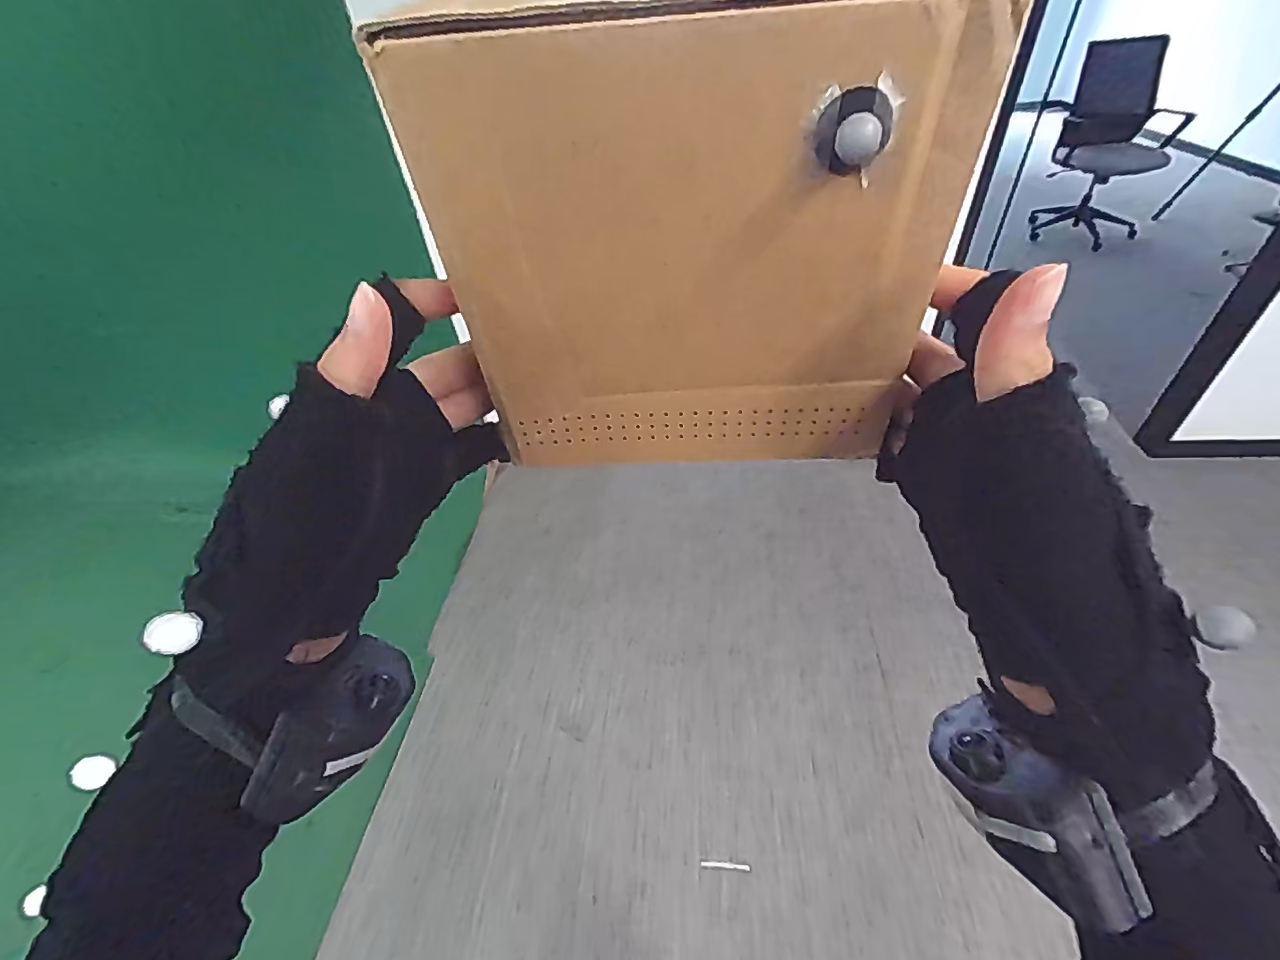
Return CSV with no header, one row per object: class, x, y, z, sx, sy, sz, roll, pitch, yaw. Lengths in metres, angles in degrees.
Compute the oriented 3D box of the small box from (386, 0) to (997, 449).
small box,0.021,-0.127,0.260,0.179,0.176,0.168,-1,47,4
